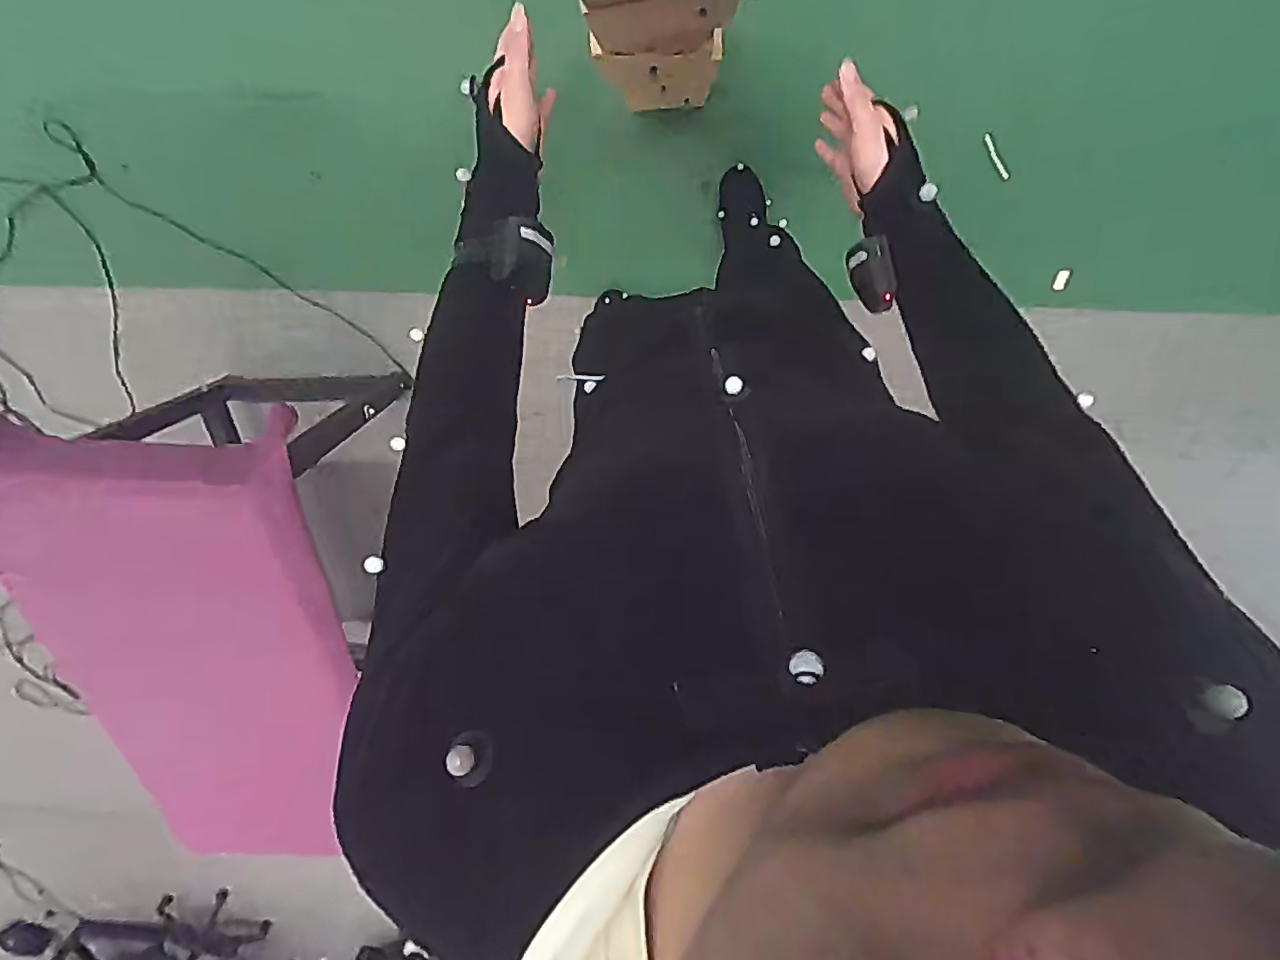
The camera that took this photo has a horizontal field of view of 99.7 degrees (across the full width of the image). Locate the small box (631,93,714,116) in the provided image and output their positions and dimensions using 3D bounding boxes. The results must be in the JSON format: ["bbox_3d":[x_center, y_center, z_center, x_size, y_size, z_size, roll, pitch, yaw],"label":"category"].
[{"bbox_3d":[0.068,-0.907,1.178,0.179,0.176,0.168,-1,117,3],"label":"small box"}]

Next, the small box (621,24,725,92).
[{"bbox_3d":[0.047,-0.757,0.890,0.179,0.176,0.168,-2,117,4],"label":"small box"}]

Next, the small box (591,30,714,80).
[{"bbox_3d":[0.023,-0.673,0.751,0.168,0.176,0.179,2,118,3],"label":"small box"}]

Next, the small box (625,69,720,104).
[{"bbox_3d":[0.062,-0.833,1.034,0.179,0.176,0.168,0,117,4],"label":"small box"}]

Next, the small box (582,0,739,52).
[{"bbox_3d":[0.020,-0.608,0.600,0.179,0.176,0.168,-6,116,8],"label":"small box"}]
